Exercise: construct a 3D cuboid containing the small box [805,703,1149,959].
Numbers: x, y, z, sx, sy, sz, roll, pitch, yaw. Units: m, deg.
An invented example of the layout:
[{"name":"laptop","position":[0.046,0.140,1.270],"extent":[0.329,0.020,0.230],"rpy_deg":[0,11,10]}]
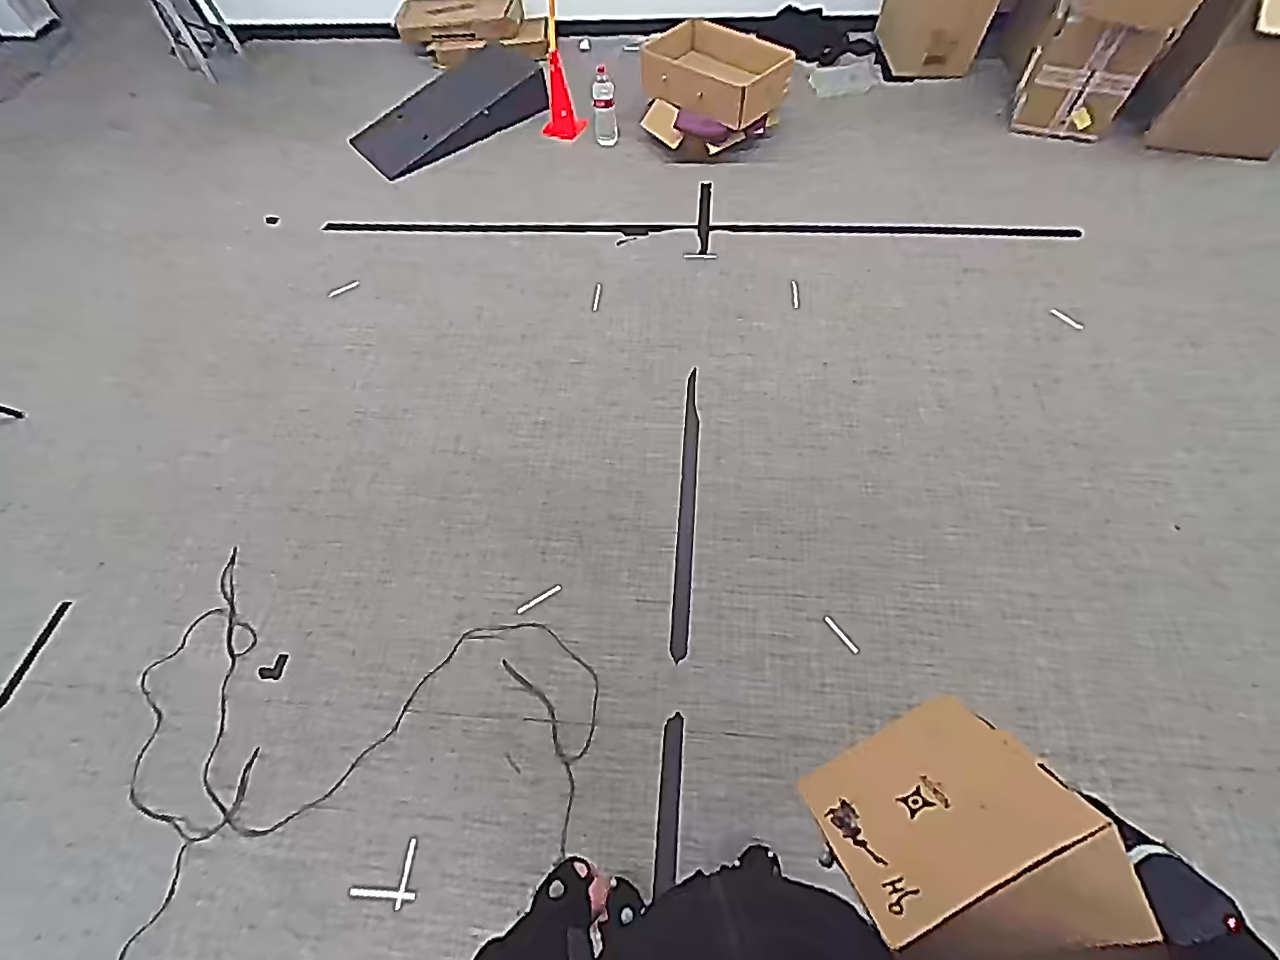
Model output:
[{"name":"small box","position":[0.281,0.341,0.468],"extent":[0.179,0.168,0.176],"rpy_deg":[-29,99,-2]}]
